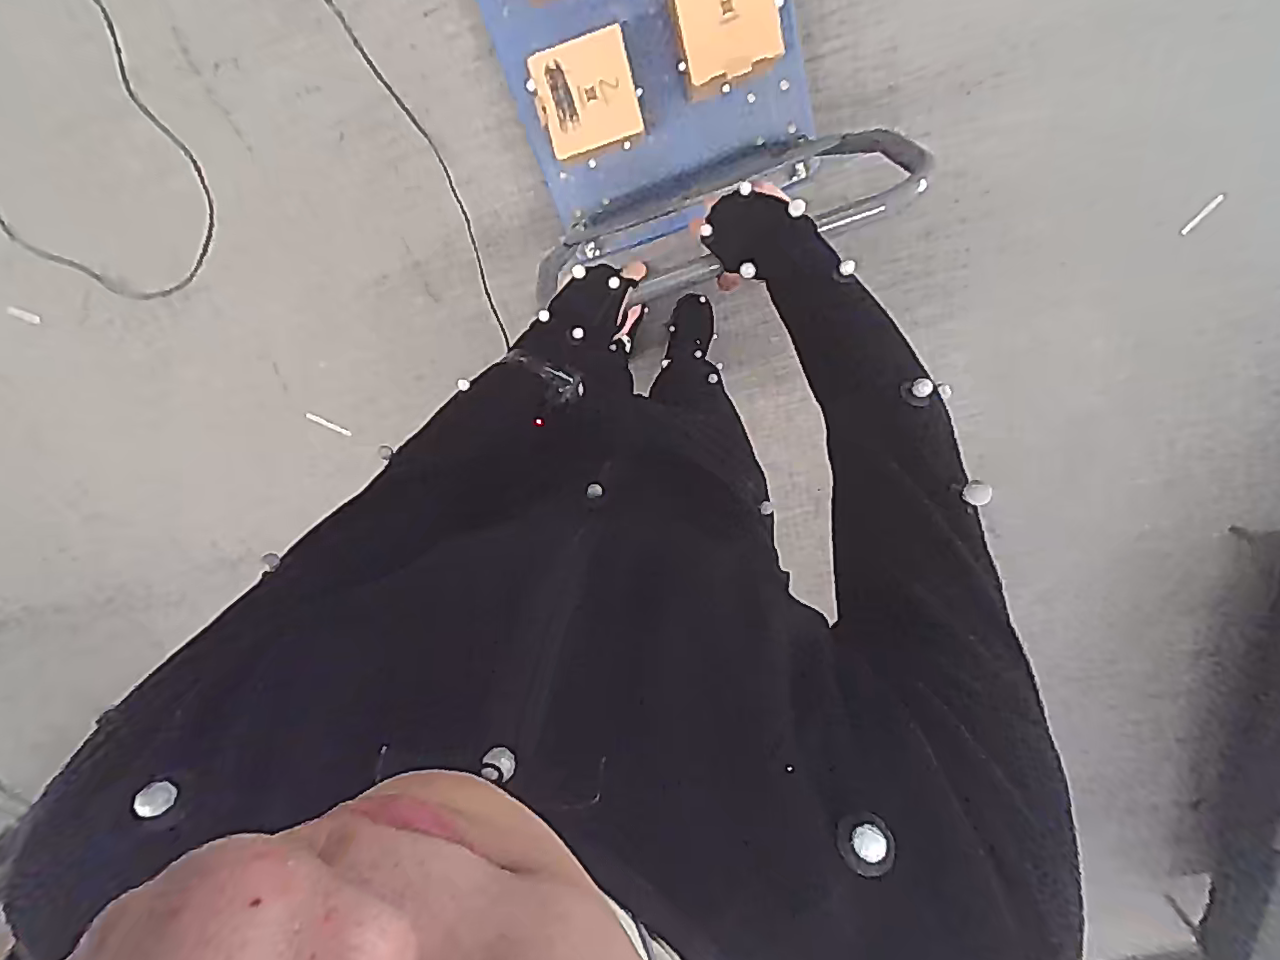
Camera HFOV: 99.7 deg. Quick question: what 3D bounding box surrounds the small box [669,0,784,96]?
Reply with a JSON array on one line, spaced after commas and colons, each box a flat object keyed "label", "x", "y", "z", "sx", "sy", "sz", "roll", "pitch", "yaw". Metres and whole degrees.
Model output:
[{"label": "small box", "x": 0.152, "y": -0.836, "z": 0.984, "sx": 0.168, "sy": 0.176, "sz": 0.179, "roll": -14, "pitch": 117, "yaw": 9}]
